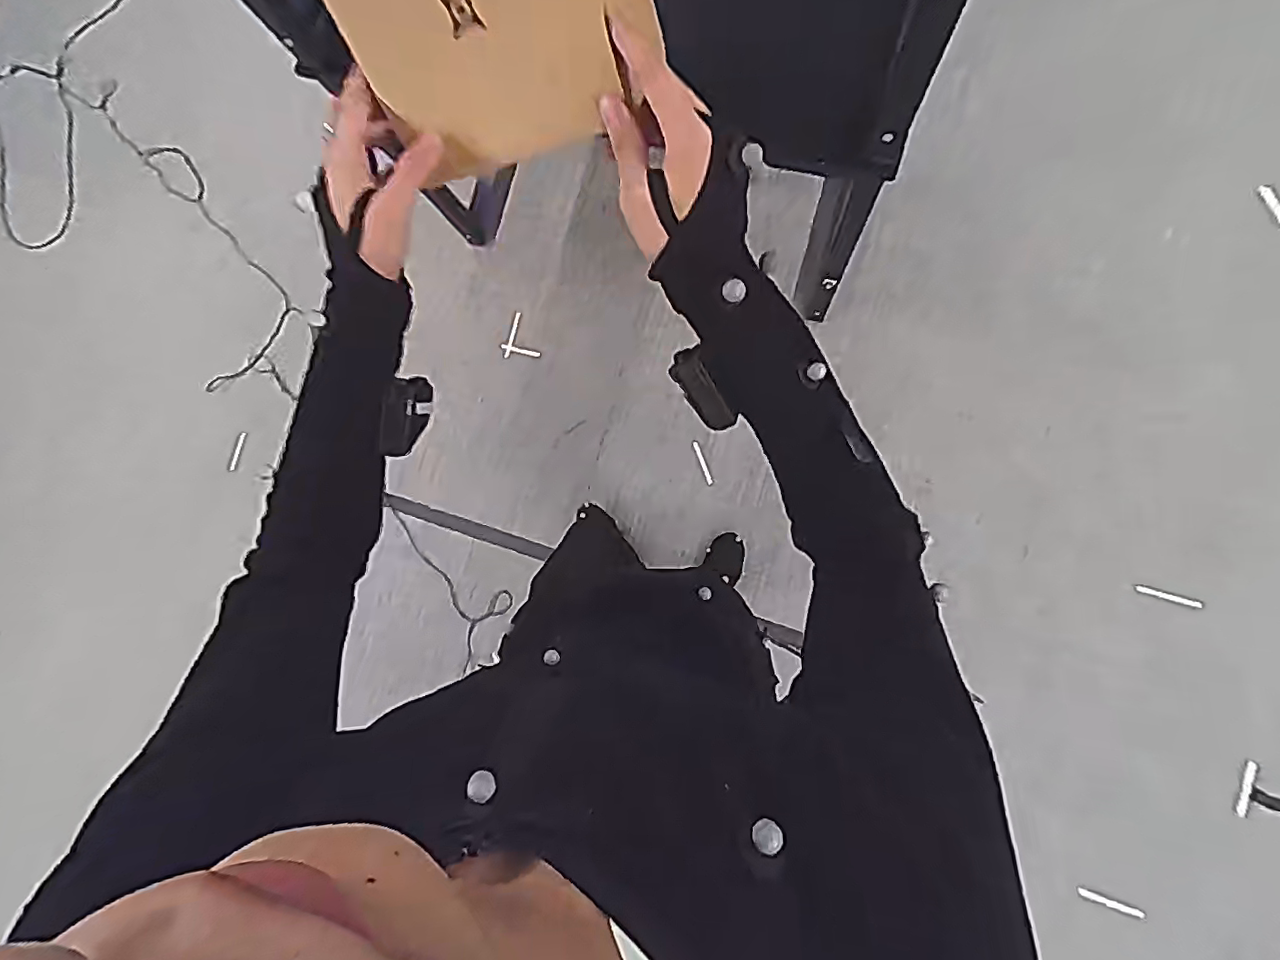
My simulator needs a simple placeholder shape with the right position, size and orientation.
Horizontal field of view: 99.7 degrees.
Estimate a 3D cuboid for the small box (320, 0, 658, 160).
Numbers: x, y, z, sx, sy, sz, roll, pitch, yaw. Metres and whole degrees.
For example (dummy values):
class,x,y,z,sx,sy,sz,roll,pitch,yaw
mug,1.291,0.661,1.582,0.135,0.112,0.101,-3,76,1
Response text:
class,x,y,z,sx,sy,sz,roll,pitch,yaw
small box,-0.095,-0.344,0.342,0.168,0.179,0.176,-5,47,19
